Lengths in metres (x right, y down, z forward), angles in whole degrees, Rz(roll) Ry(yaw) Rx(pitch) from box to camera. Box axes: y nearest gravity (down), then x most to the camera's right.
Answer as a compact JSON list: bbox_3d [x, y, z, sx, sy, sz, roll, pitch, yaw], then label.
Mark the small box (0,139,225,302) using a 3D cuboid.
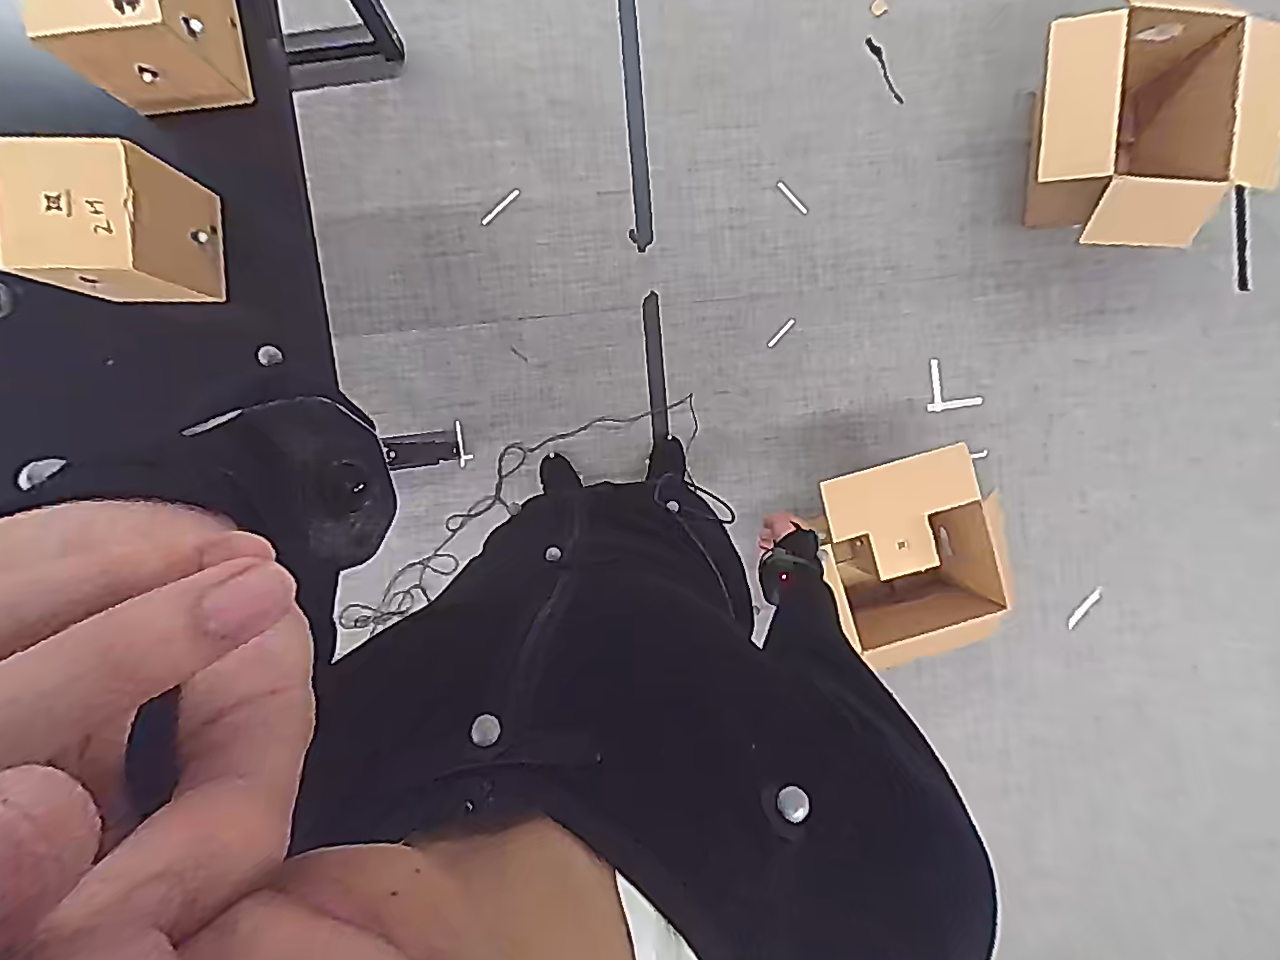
[{"bbox_3d":[-0.745,-0.358,0.774,0.179,0.176,0.168,-1,95,-2],"label":"small box"}]
